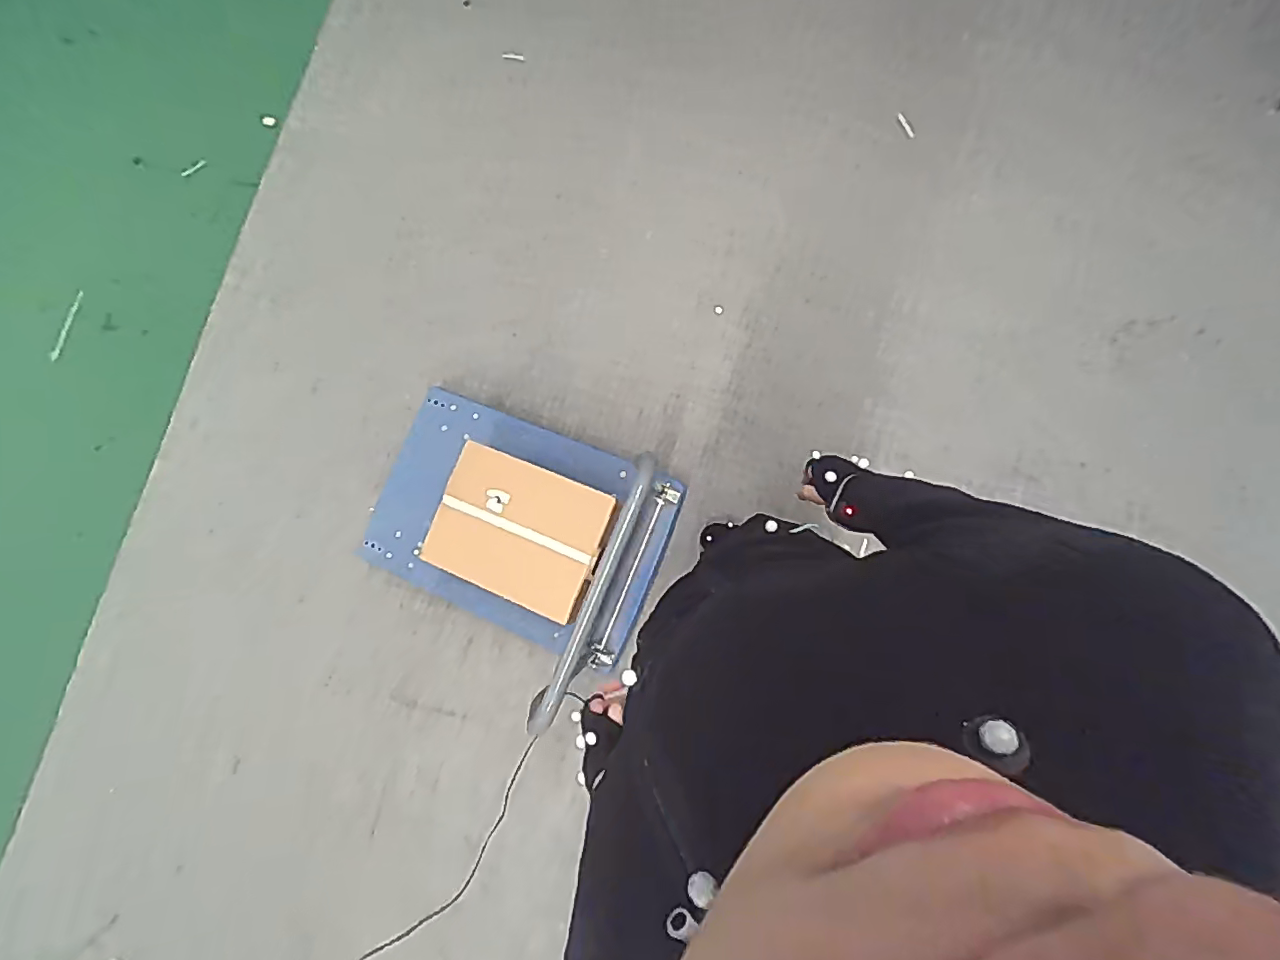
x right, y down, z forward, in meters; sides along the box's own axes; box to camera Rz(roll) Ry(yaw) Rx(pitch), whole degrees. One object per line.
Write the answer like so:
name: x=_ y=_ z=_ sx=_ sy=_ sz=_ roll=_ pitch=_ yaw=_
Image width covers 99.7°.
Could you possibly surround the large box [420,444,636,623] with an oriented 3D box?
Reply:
large box: x=-0.267 y=0.138 z=1.410 sx=0.408 sy=0.320 sz=0.320 roll=21 pitch=85 yaw=12
